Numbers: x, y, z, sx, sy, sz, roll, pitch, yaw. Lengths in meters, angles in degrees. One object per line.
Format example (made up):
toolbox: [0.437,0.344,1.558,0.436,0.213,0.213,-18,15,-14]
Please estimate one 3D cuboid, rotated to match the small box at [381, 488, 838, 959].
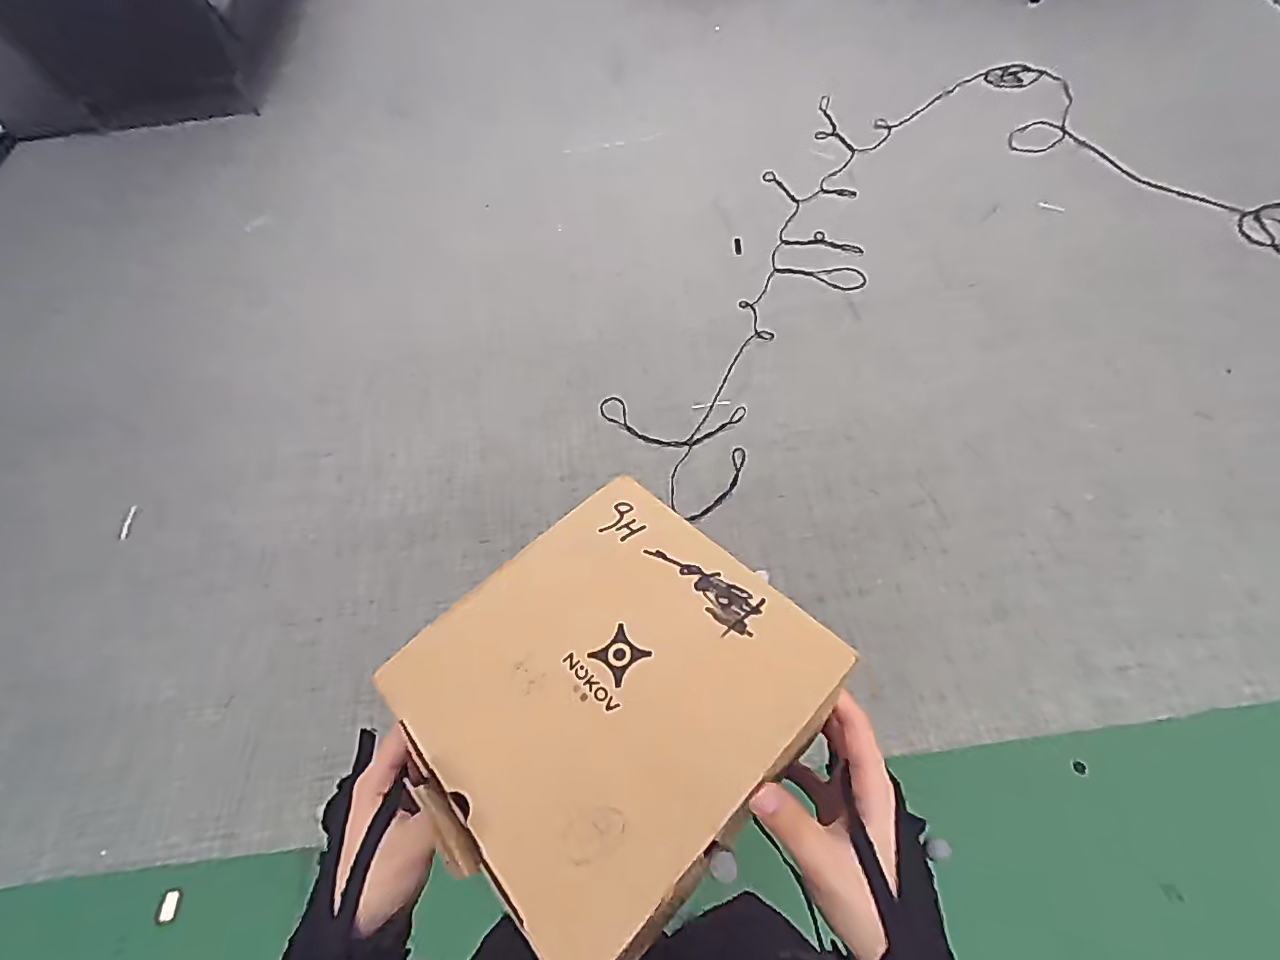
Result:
small box: [-0.008,0.146,0.329,0.179,0.176,0.168,-40,57,-20]
